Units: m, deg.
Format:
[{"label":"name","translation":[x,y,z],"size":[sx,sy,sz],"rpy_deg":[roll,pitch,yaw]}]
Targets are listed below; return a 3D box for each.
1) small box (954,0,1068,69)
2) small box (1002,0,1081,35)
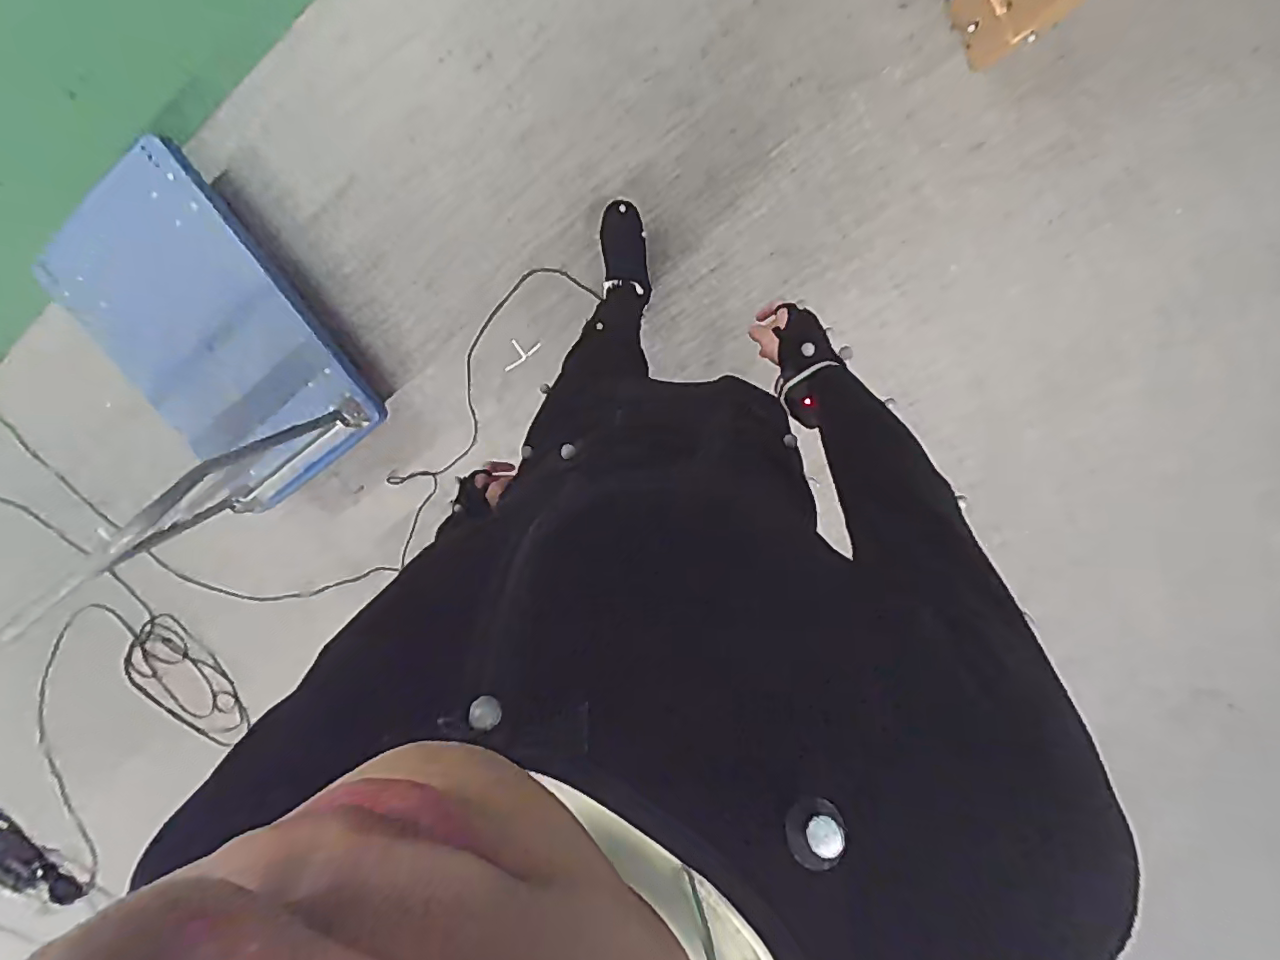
[{"label":"small box","translation":[0.795,-1.020,1.136],"size":[0.179,0.176,0.168],"rpy_deg":[-29,104,16]},{"label":"small box","translation":[0.786,-0.972,0.978],"size":[0.179,0.176,0.168],"rpy_deg":[-25,104,14]}]
